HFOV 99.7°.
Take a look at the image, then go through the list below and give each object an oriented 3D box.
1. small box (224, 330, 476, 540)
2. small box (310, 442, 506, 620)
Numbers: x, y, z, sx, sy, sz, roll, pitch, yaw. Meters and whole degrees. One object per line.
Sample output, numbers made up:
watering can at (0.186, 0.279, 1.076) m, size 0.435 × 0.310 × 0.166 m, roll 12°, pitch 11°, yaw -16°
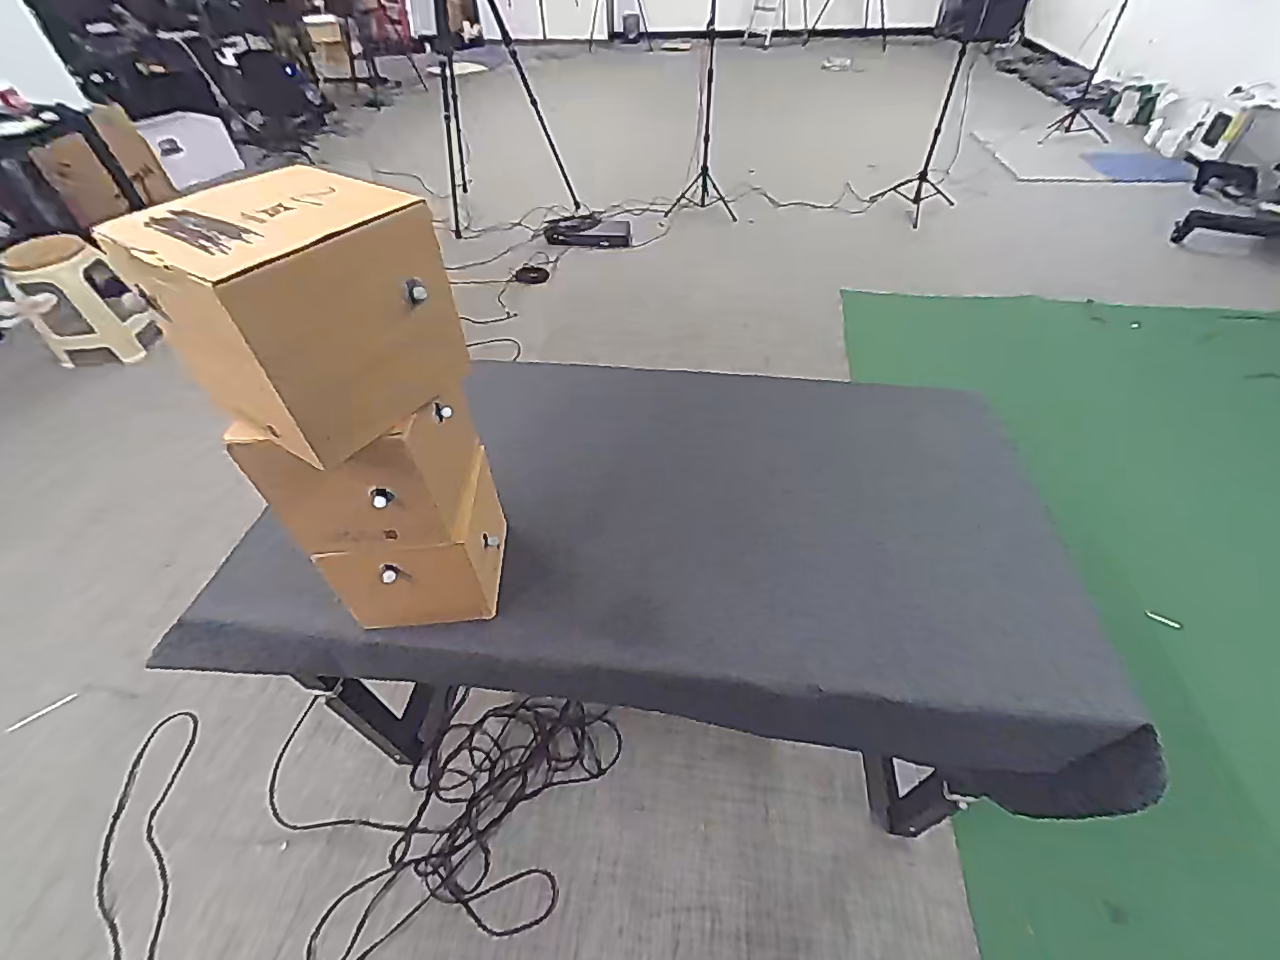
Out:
small box at (-0.292, -0.046, 0.598) m, size 0.168 × 0.176 × 0.179 m, roll -1°, pitch 45°, yaw -1°
small box at (-0.283, 0.069, 0.713) m, size 0.179 × 0.176 × 0.168 m, roll -4°, pitch 46°, yaw -1°
